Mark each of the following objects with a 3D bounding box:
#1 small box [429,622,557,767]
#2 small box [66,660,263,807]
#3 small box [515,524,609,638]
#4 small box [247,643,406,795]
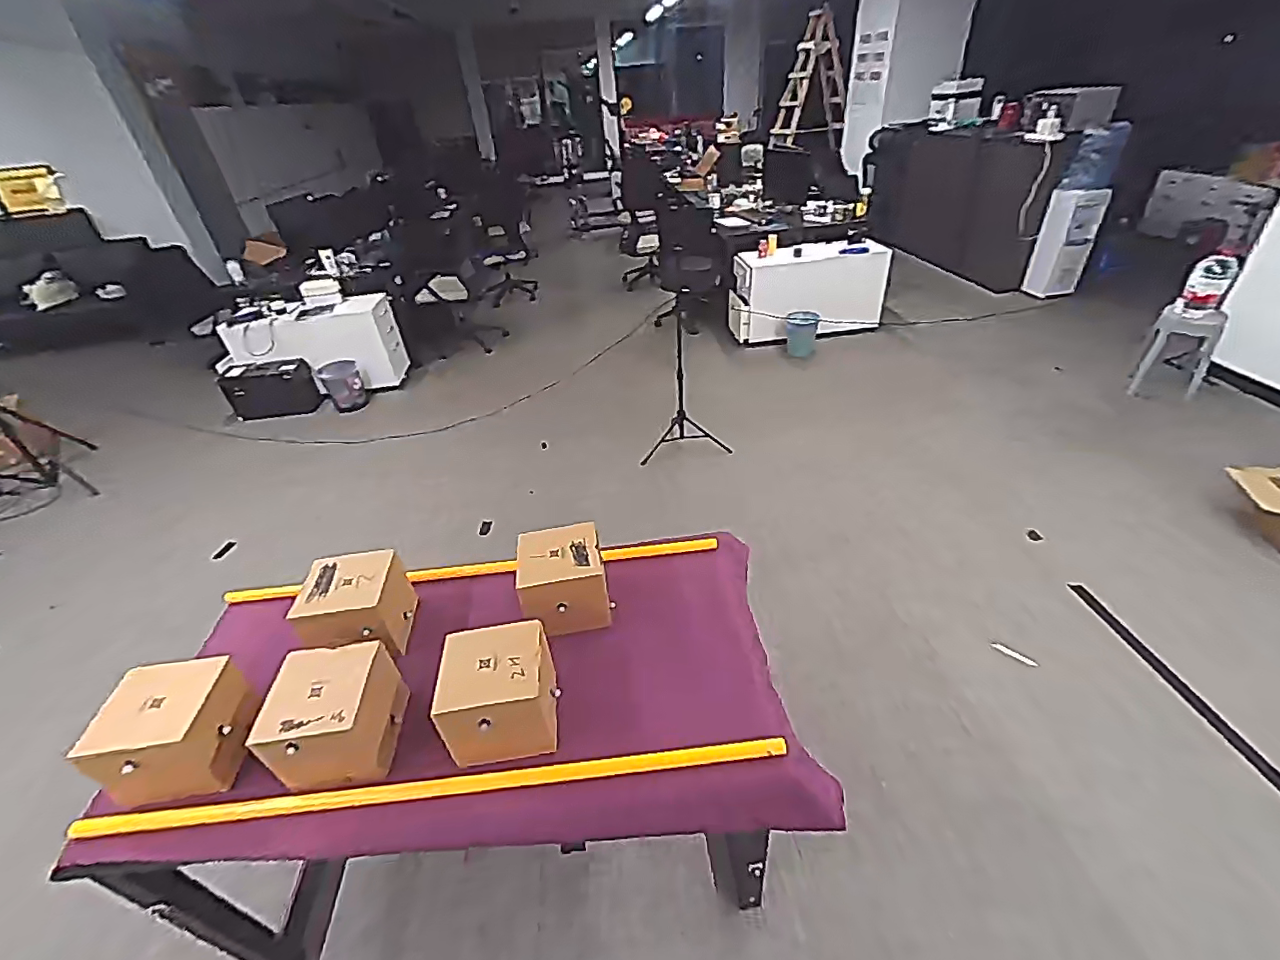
[{"bbox_3d":[-0.251,0.384,0.967,0.179,0.176,0.168,-8,34,-3],"label":"small box"},{"bbox_3d":[-0.816,0.448,0.958,0.179,0.176,0.168,-7,35,-4],"label":"small box"},{"bbox_3d":[-0.165,0.222,1.180,0.179,0.176,0.168,-10,37,-4],"label":"small box"},{"bbox_3d":[-0.536,0.421,0.958,0.168,0.176,0.179,-8,35,-2],"label":"small box"}]
